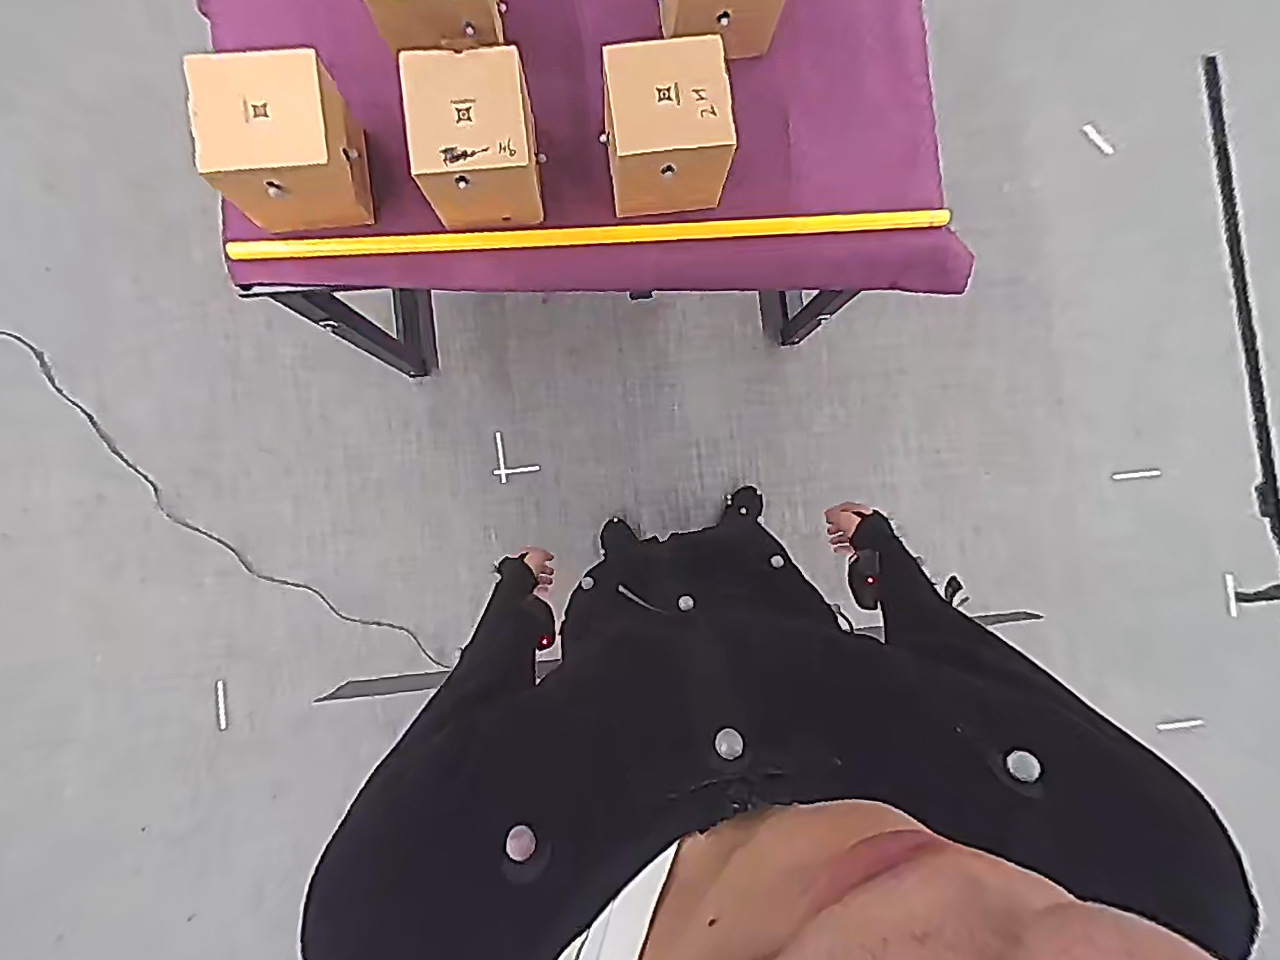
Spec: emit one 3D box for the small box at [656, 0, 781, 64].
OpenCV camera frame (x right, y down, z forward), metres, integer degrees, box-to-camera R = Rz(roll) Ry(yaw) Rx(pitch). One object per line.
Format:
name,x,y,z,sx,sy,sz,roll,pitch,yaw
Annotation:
small box,0.123,-0.800,0.857,0.179,0.176,0.168,-8,90,-2

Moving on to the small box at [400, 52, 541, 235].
small box,-0.250,-0.506,0.832,0.168,0.176,0.179,-6,88,-2

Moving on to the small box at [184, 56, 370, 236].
small box,-0.530,-0.491,0.817,0.179,0.176,0.168,-7,88,-4

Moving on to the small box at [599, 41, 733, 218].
small box,0.035,-0.533,0.845,0.179,0.176,0.168,-7,87,-3
